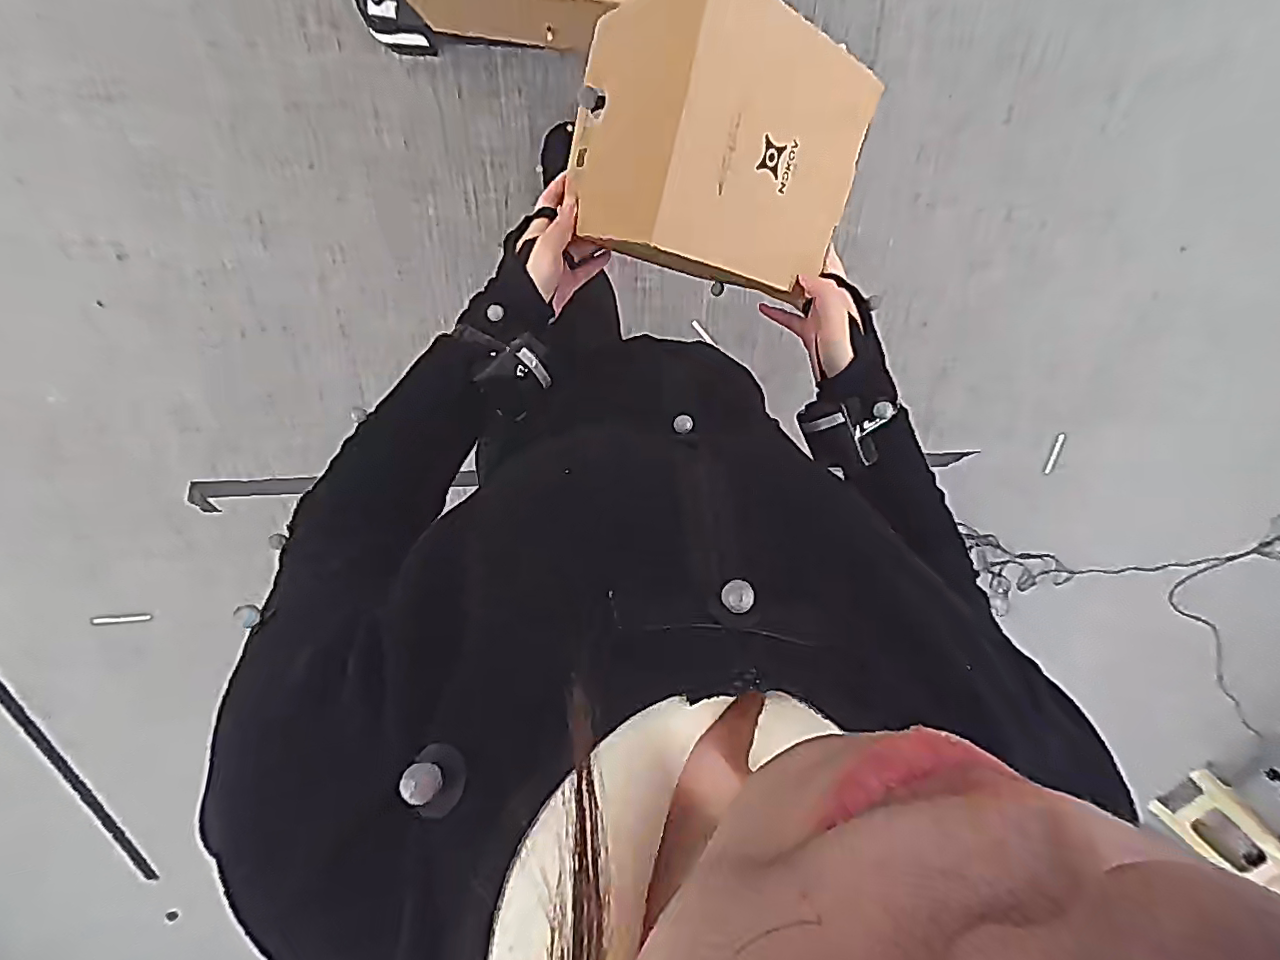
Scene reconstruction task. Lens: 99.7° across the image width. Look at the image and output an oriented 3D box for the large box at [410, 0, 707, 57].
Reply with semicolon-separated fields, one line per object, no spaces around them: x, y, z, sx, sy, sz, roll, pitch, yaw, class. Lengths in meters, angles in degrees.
-0.115;-0.812;0.737;0.408;0.320;0.320;1;117;-7;large box
